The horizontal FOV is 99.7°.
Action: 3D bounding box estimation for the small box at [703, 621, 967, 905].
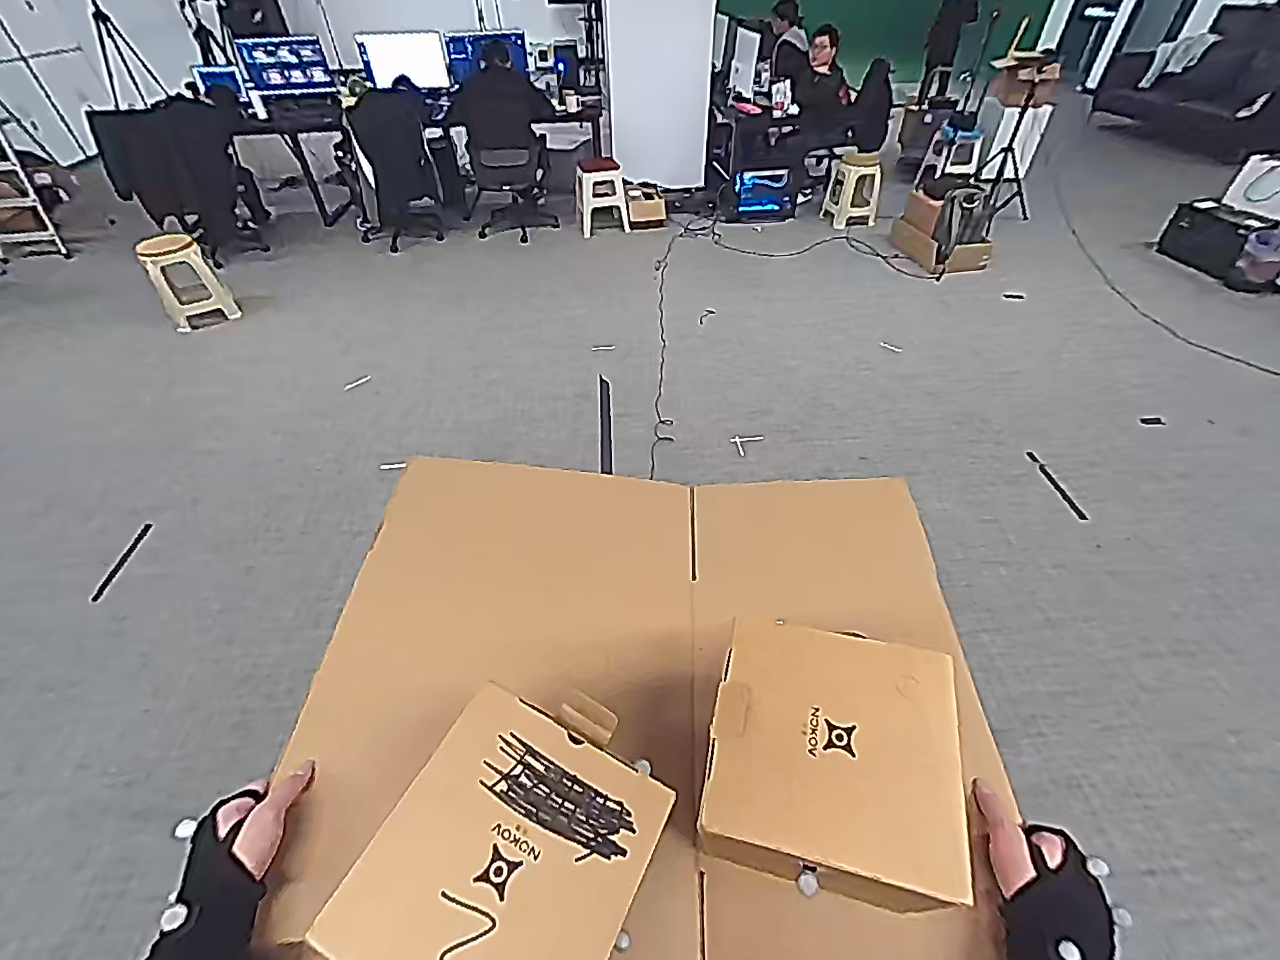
[{"bbox_3d":[0.160,0.249,0.478,0.179,0.176,0.168,6,52,16],"label":"small box"}]
